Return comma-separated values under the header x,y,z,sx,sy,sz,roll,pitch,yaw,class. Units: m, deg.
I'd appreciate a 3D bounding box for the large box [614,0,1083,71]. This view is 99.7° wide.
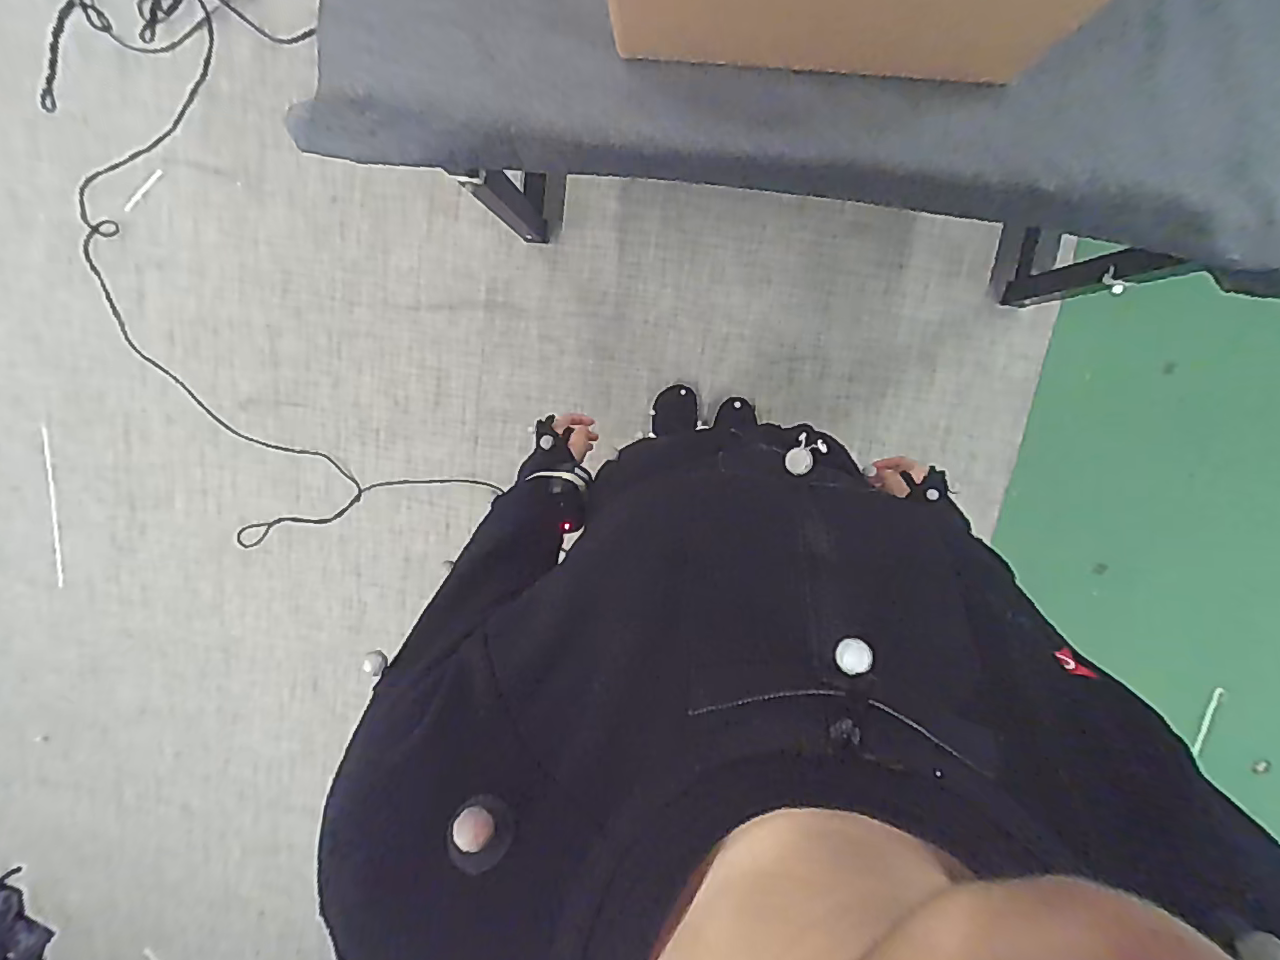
x,y,z,sx,sy,sz,roll,pitch,yaw,class
0.178,-0.546,0.379,0.408,0.320,0.320,5,101,1,large box
